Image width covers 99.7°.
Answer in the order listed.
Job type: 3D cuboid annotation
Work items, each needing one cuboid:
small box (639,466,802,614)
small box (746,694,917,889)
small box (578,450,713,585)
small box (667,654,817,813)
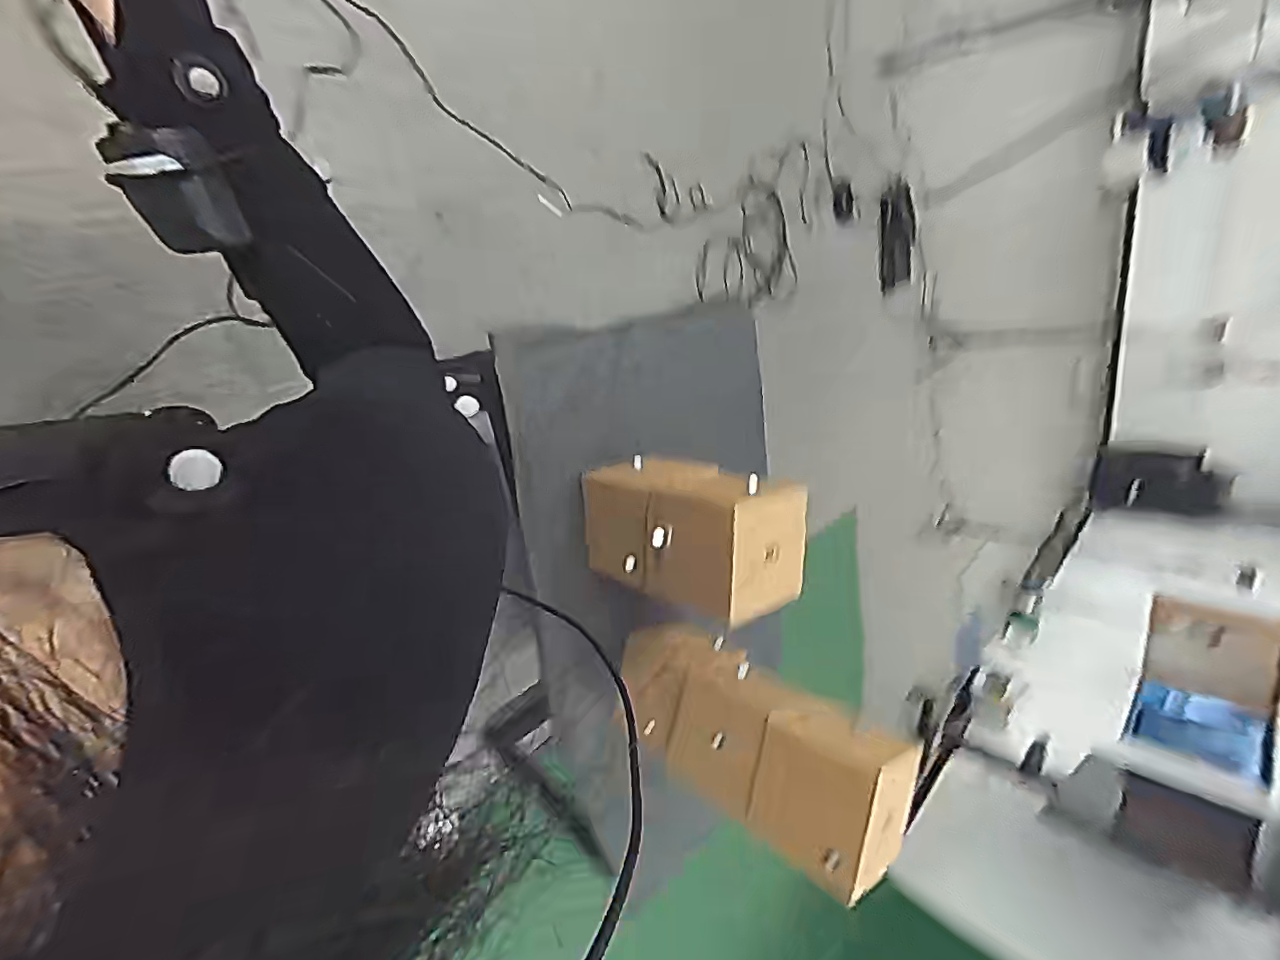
[{"bbox_3d":[0.118,0.075,0.806,0.179,0.176,0.168,-9,103,-40],"label":"small box"},{"bbox_3d":[0.277,0.432,0.794,0.168,0.176,0.179,11,91,-44],"label":"small box"},{"bbox_3d":[0.012,0.053,0.927,0.168,0.176,0.179,-17,109,-40],"label":"small box"},{"bbox_3d":[0.168,0.412,0.912,0.168,0.176,0.179,14,88,-44],"label":"small box"}]
